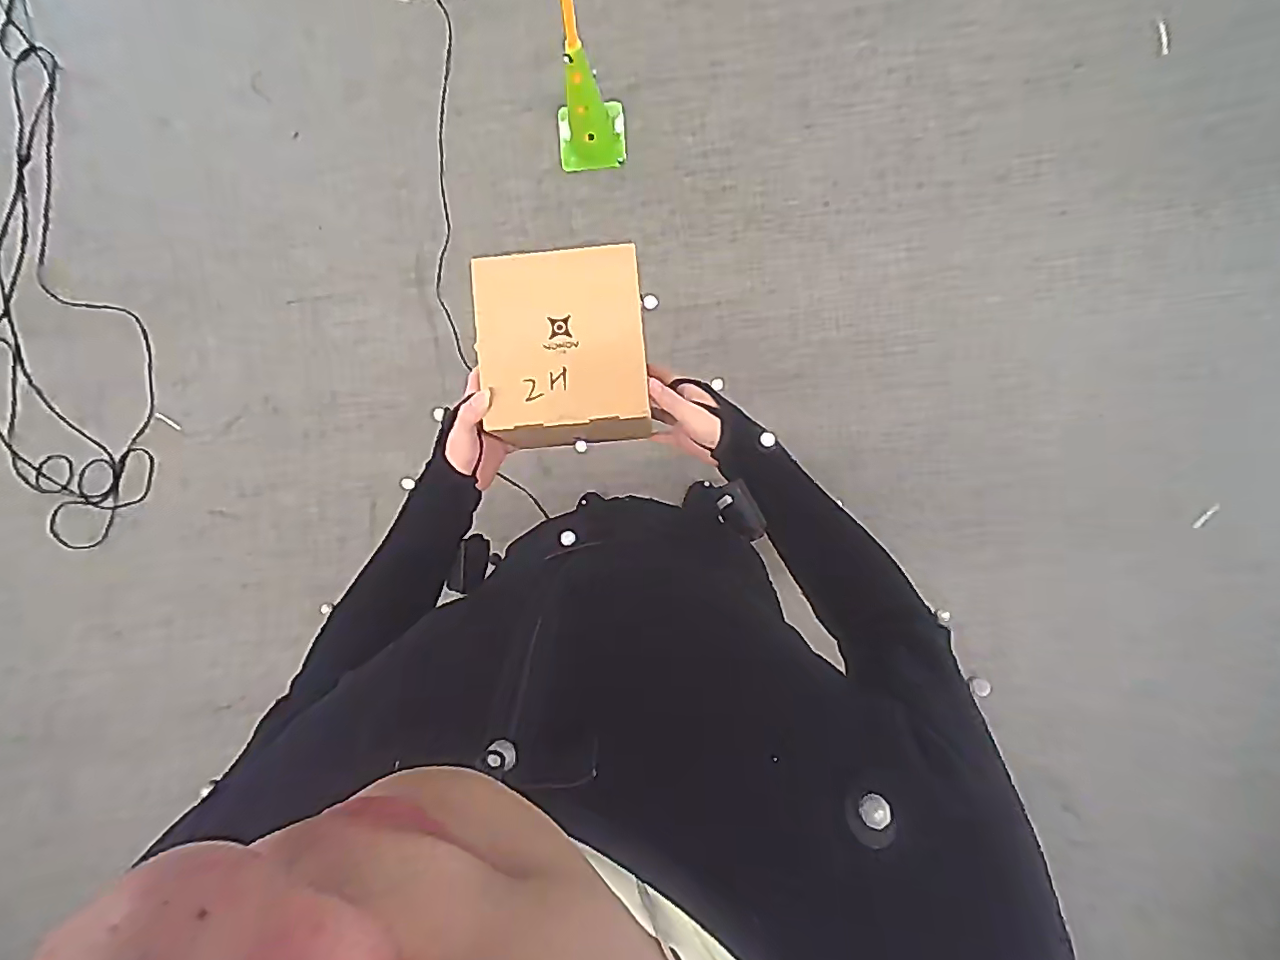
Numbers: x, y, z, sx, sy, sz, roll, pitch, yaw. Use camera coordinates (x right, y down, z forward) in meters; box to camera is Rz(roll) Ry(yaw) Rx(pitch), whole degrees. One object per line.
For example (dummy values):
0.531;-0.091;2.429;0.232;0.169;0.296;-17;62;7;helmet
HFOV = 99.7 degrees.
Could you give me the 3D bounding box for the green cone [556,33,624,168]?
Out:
-0.165;-1.066;1.485;0.202;0.368;0.200;-5;89;3;green cone
